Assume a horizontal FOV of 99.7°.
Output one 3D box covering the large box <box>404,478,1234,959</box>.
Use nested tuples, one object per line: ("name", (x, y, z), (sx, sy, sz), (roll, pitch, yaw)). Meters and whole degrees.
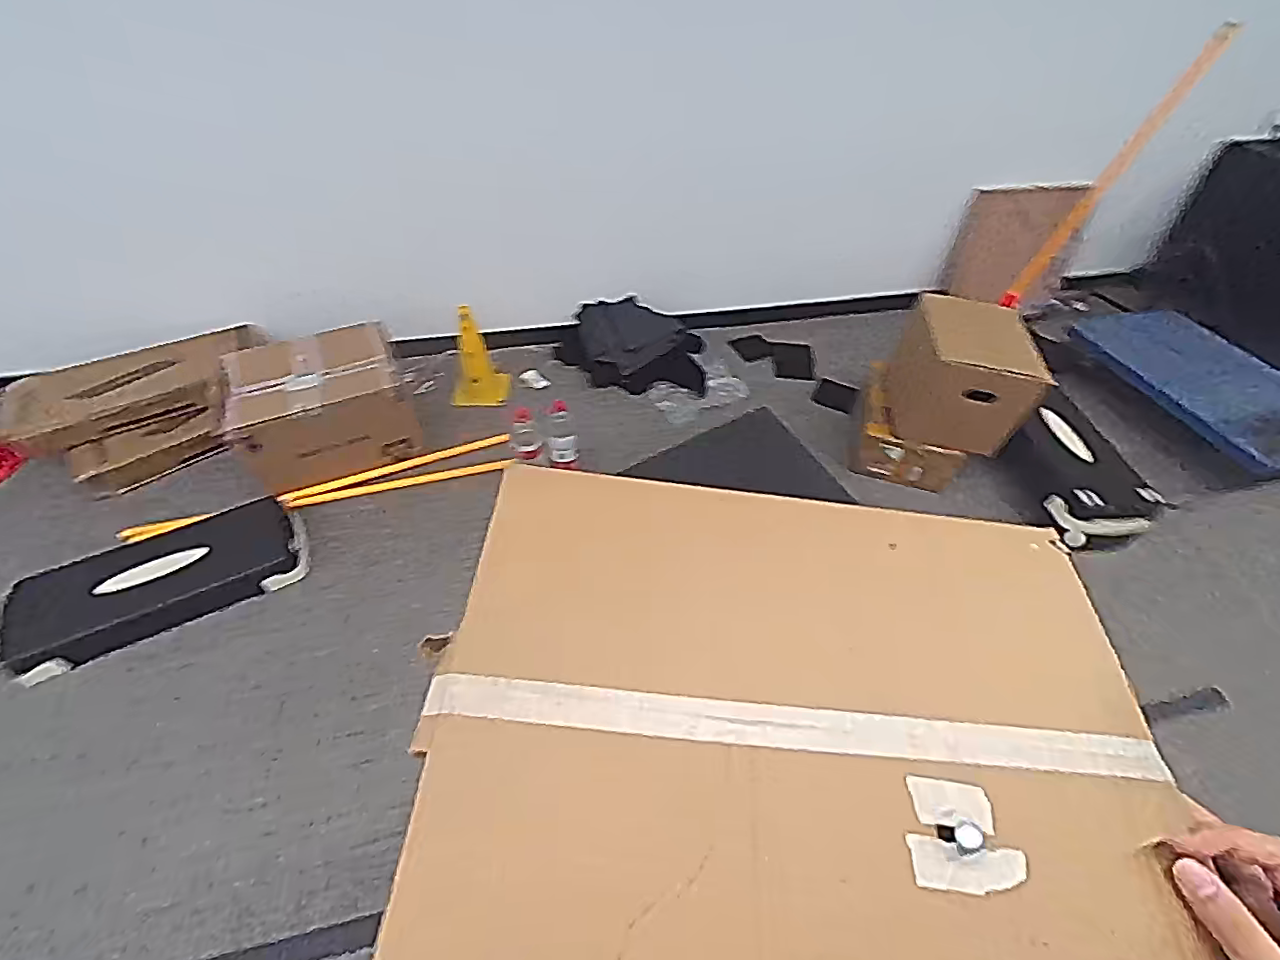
("large box", (0.081, 0.231, 0.427), (0.408, 0.320, 0.320), (8, 54, -3))
